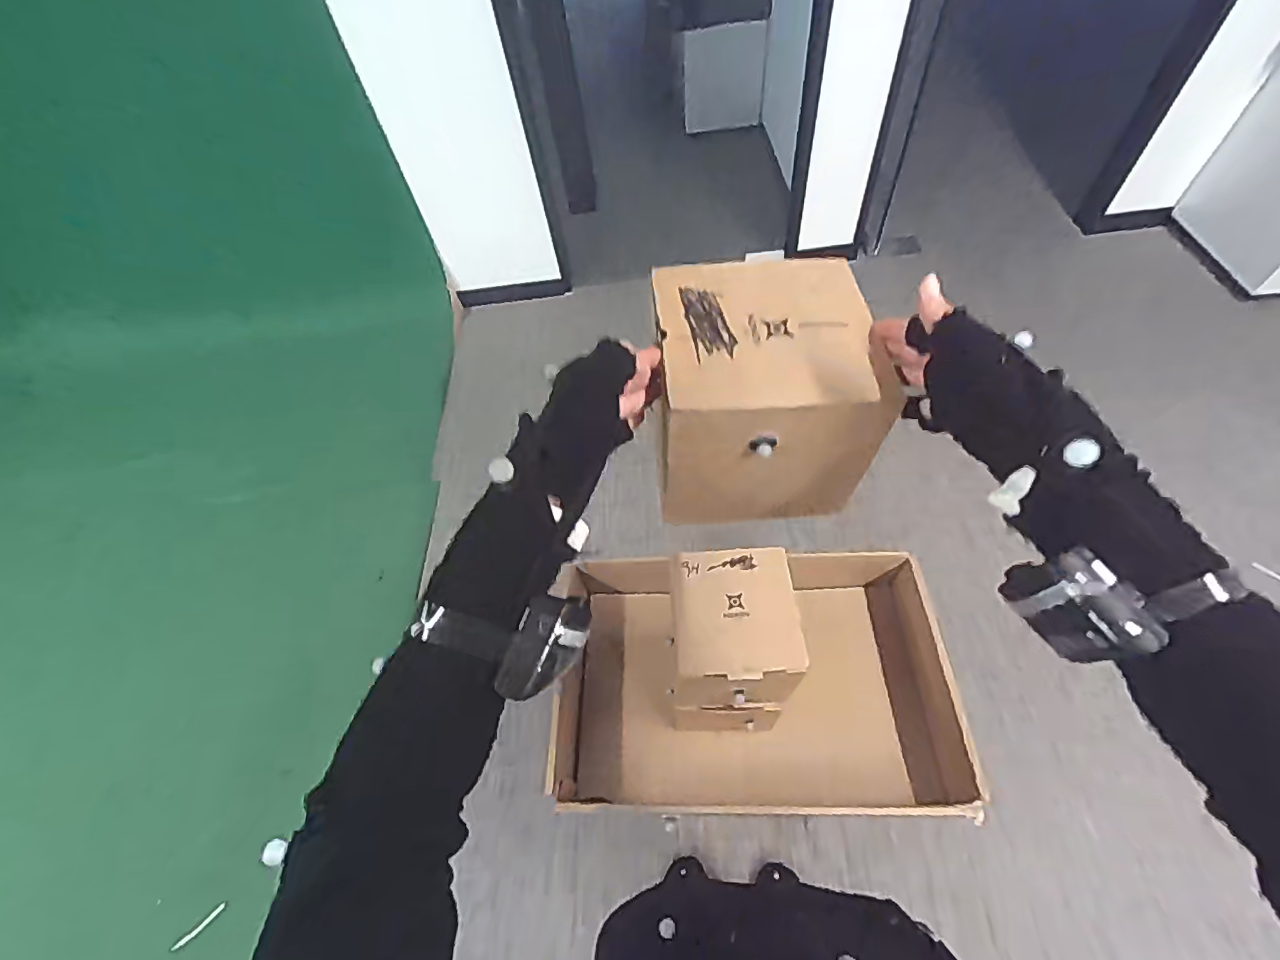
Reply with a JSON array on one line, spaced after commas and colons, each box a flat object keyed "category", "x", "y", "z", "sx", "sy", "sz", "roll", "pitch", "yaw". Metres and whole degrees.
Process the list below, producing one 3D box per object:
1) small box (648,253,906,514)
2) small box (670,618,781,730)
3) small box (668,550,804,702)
[{"category": "small box", "x": 0.100, "y": -0.079, "z": 0.491, "sx": 0.179, "sy": 0.176, "sz": 0.168, "roll": -3, "pitch": 57, "yaw": -2}, {"category": "small box", "x": 0.136, "y": 0.319, "z": 0.919, "sx": 0.168, "sy": 0.176, "sz": 0.179, "roll": -1, "pitch": 53, "yaw": 2}, {"category": "small box", "x": 0.129, "y": 0.219, "z": 0.789, "sx": 0.168, "sy": 0.176, "sz": 0.179, "roll": -3, "pitch": 56, "yaw": 1}]
